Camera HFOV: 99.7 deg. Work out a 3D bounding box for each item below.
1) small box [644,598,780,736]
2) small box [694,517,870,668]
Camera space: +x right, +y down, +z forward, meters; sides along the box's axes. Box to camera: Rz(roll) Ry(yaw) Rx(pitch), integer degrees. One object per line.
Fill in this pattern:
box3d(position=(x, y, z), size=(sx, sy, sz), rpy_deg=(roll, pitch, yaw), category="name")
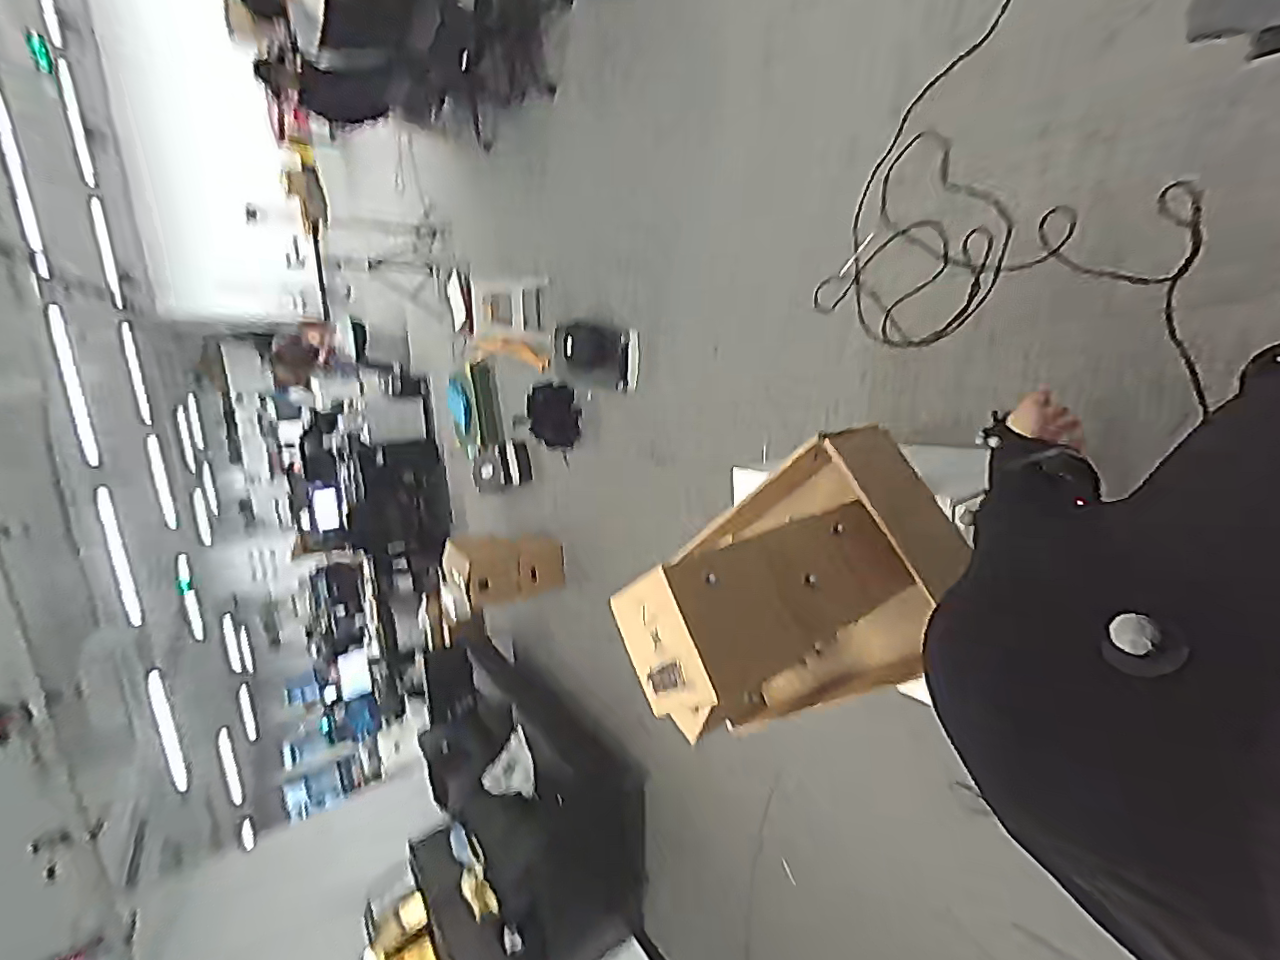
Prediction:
box3d(position=(0.137, 0.347, 1.050), size=(0.179, 0.176, 0.168), rpy_deg=(42, 133, 37), category="small box")
box3d(position=(0.225, 0.174, 0.871), size=(0.179, 0.176, 0.168), rpy_deg=(63, 144, 18), category="small box")
